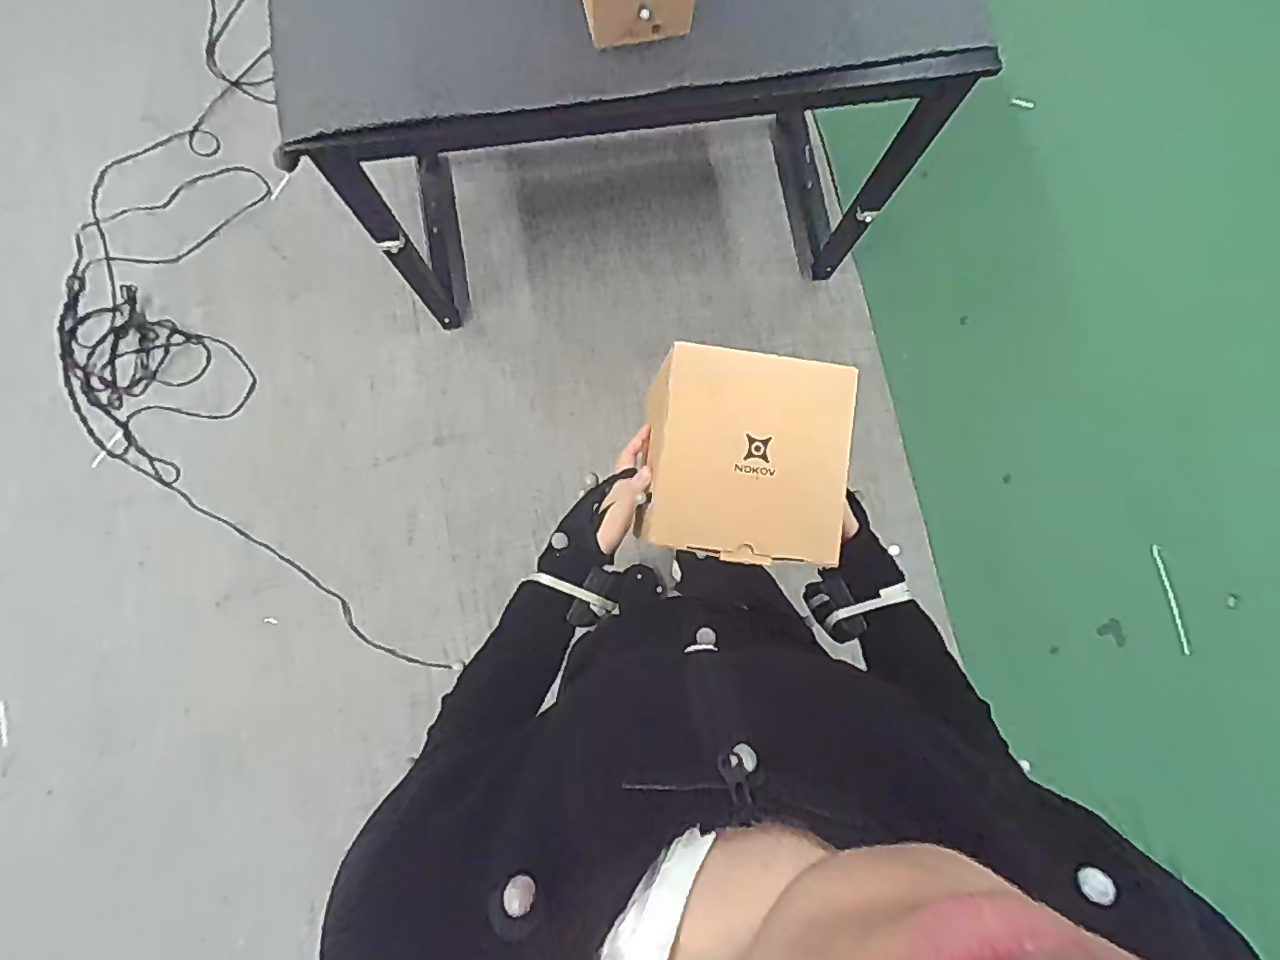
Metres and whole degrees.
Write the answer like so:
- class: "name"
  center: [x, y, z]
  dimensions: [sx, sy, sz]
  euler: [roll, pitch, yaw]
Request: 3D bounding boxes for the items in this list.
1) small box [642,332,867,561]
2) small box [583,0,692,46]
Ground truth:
- class: "small box"
  center: [0.096, -0.022, 0.524]
  dimensions: [0.168, 0.176, 0.179]
  euler: [6, 86, -5]
- class: "small box"
  center: [-0.013, -0.826, 0.831]
  dimensions: [0.168, 0.176, 0.179]
  euler: [-13, 81, -4]
